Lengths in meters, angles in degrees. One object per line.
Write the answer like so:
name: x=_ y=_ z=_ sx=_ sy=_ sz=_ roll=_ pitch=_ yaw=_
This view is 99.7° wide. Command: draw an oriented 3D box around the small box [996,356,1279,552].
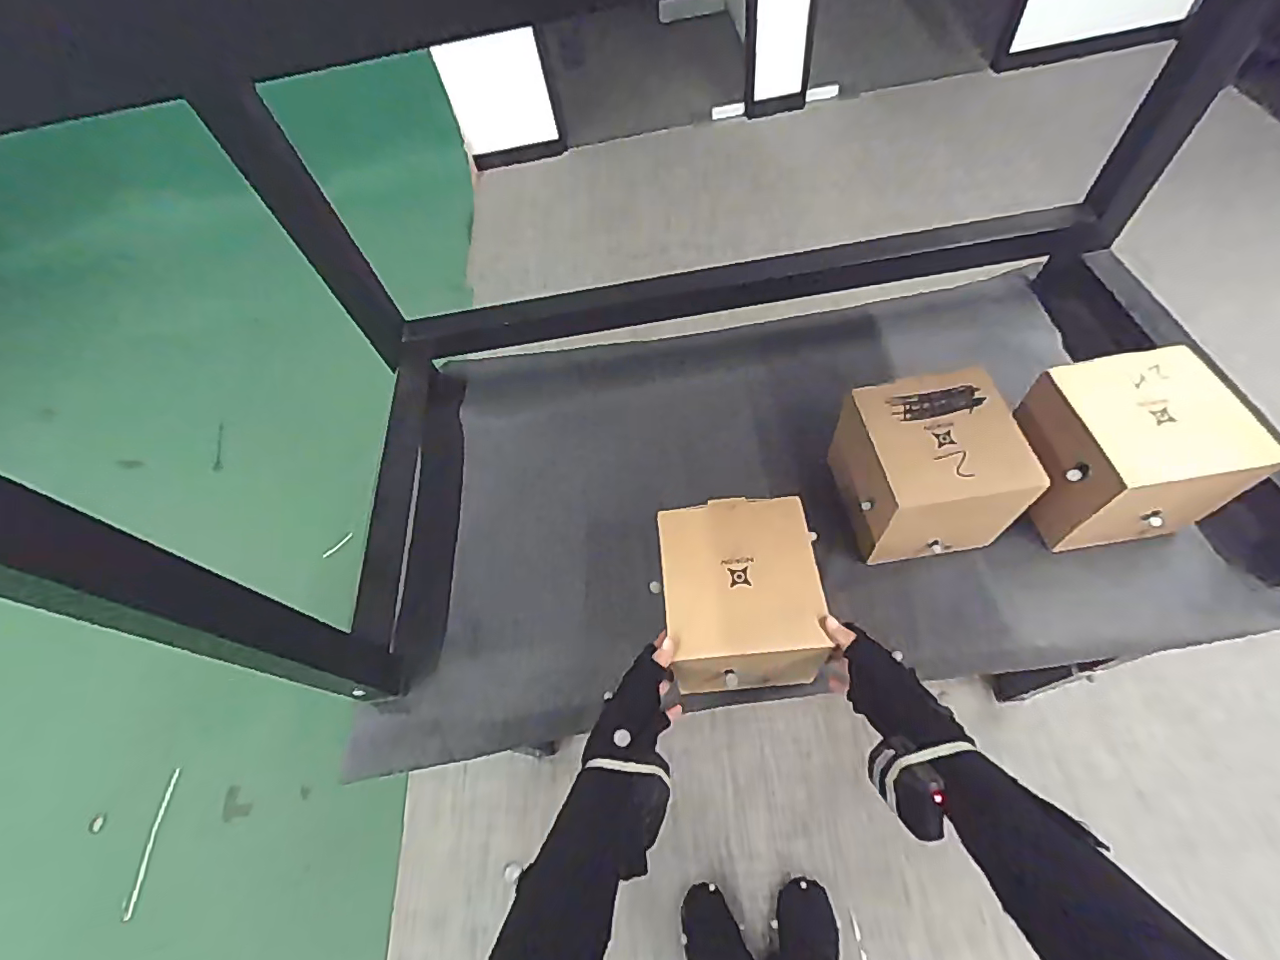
small box: x=0.595 y=-0.022 z=0.677 sx=0.168 sy=0.176 sz=0.179 roll=-10 pitch=57 yaw=3
